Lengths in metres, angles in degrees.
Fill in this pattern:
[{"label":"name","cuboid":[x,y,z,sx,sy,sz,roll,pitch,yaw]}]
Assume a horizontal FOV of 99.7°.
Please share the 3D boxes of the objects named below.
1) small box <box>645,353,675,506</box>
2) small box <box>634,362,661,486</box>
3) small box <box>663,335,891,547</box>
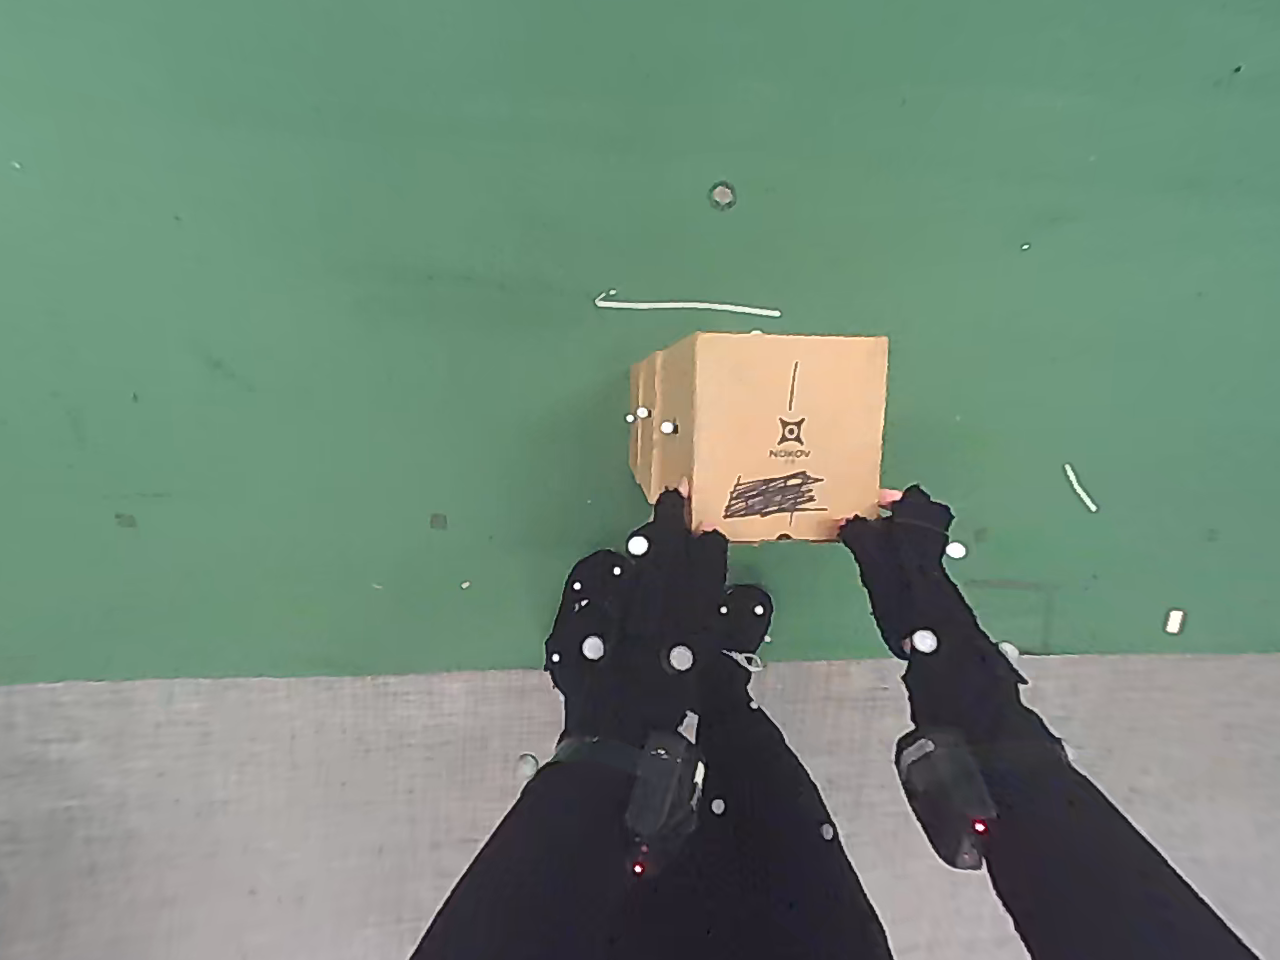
[{"label":"small box","cuboid":[0.095,-0.064,0.699,0.168,0.176,0.179,1,98,-4]},{"label":"small box","cuboid":[0.079,-0.086,0.842,0.168,0.176,0.179,2,99,-3]},{"label":"small box","cuboid":[0.117,-0.040,0.528,0.168,0.176,0.179,0,97,-6]}]
